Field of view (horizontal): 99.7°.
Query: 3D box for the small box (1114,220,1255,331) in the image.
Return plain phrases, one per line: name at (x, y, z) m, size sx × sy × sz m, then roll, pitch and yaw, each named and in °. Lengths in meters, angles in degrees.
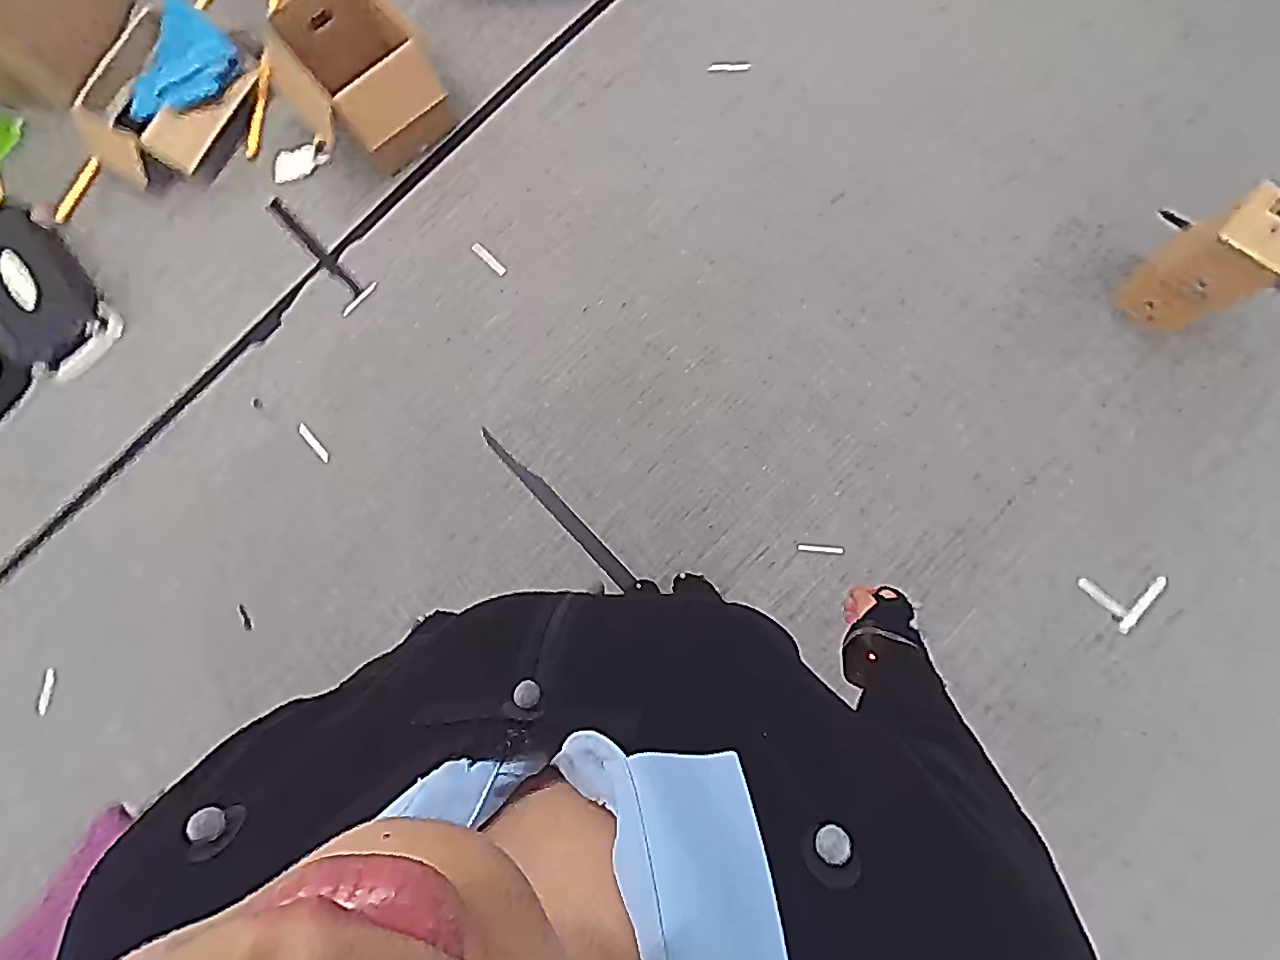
small box at (1.420, -0.532, 1.426) m, size 0.168 × 0.176 × 0.179 m, roll 38°, pitch 86°, yaw 11°
